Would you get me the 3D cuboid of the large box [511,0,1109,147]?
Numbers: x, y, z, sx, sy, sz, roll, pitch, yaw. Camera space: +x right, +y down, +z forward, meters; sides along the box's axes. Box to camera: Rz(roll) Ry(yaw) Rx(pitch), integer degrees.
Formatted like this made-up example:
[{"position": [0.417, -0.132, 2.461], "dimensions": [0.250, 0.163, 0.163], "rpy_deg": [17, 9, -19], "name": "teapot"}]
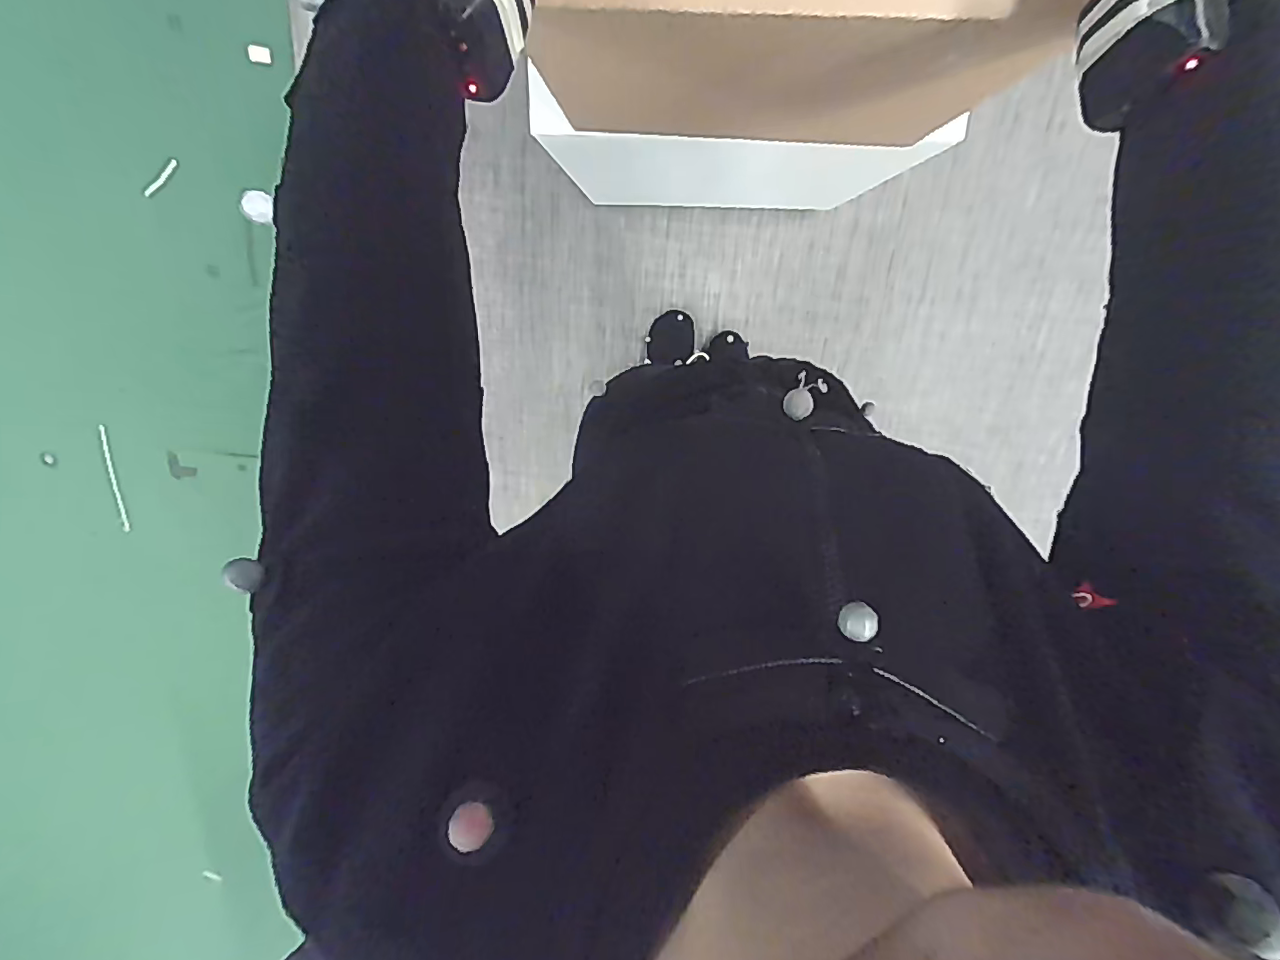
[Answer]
[{"position": [0.116, -0.497, 0.456], "dimensions": [0.408, 0.320, 0.320], "rpy_deg": [3, 109, 1], "name": "large box"}]
